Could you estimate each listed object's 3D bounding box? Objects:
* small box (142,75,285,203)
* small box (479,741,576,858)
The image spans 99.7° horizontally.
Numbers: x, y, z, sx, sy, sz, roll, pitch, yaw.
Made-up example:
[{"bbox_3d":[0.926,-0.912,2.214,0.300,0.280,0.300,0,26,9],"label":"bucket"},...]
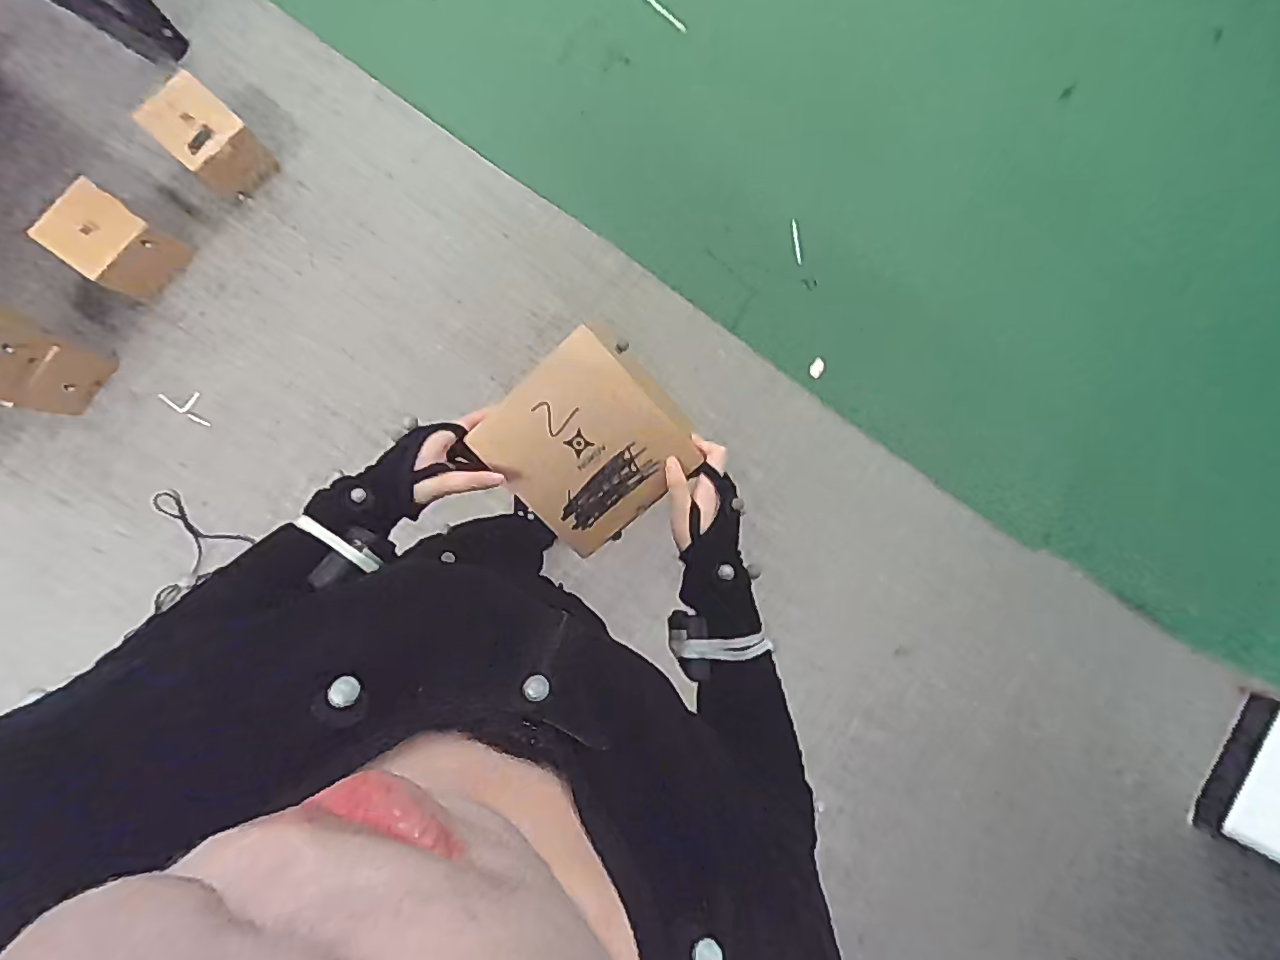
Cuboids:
[{"bbox_3d":[-1.022,-0.812,1.317,0.179,0.176,0.168,43,84,-4],"label":"small box"},{"bbox_3d":[-0.282,0.806,1.390,0.179,0.176,0.168,37,85,-5],"label":"small box"}]
